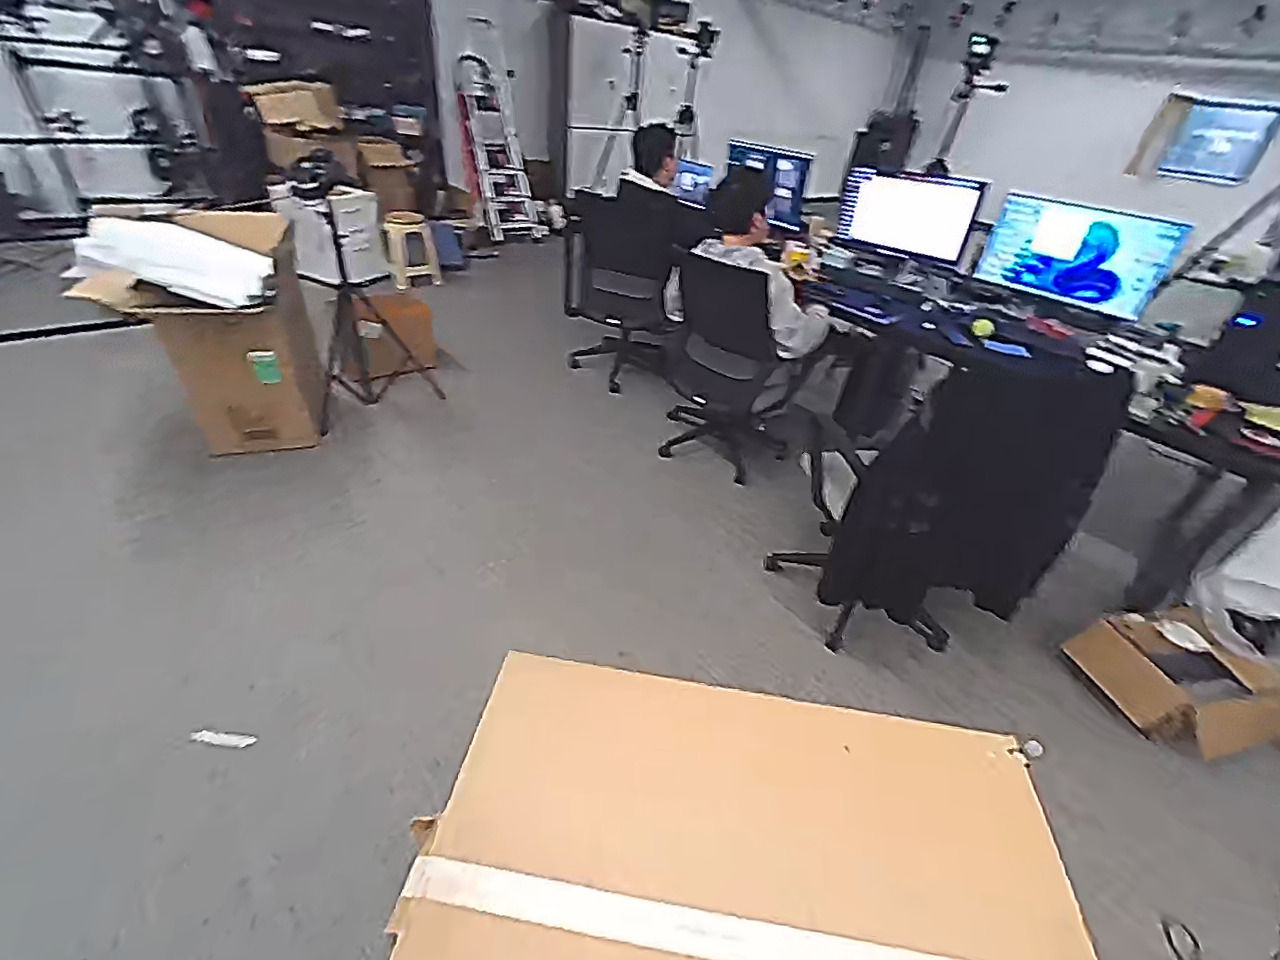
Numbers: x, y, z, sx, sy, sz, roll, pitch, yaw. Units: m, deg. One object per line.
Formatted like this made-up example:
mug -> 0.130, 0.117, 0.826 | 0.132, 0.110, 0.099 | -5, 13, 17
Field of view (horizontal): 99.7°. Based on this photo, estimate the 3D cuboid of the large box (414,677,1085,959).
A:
large box -> 0.058, 0.394, 0.417 | 0.408, 0.320, 0.320 | 8, 42, 3
